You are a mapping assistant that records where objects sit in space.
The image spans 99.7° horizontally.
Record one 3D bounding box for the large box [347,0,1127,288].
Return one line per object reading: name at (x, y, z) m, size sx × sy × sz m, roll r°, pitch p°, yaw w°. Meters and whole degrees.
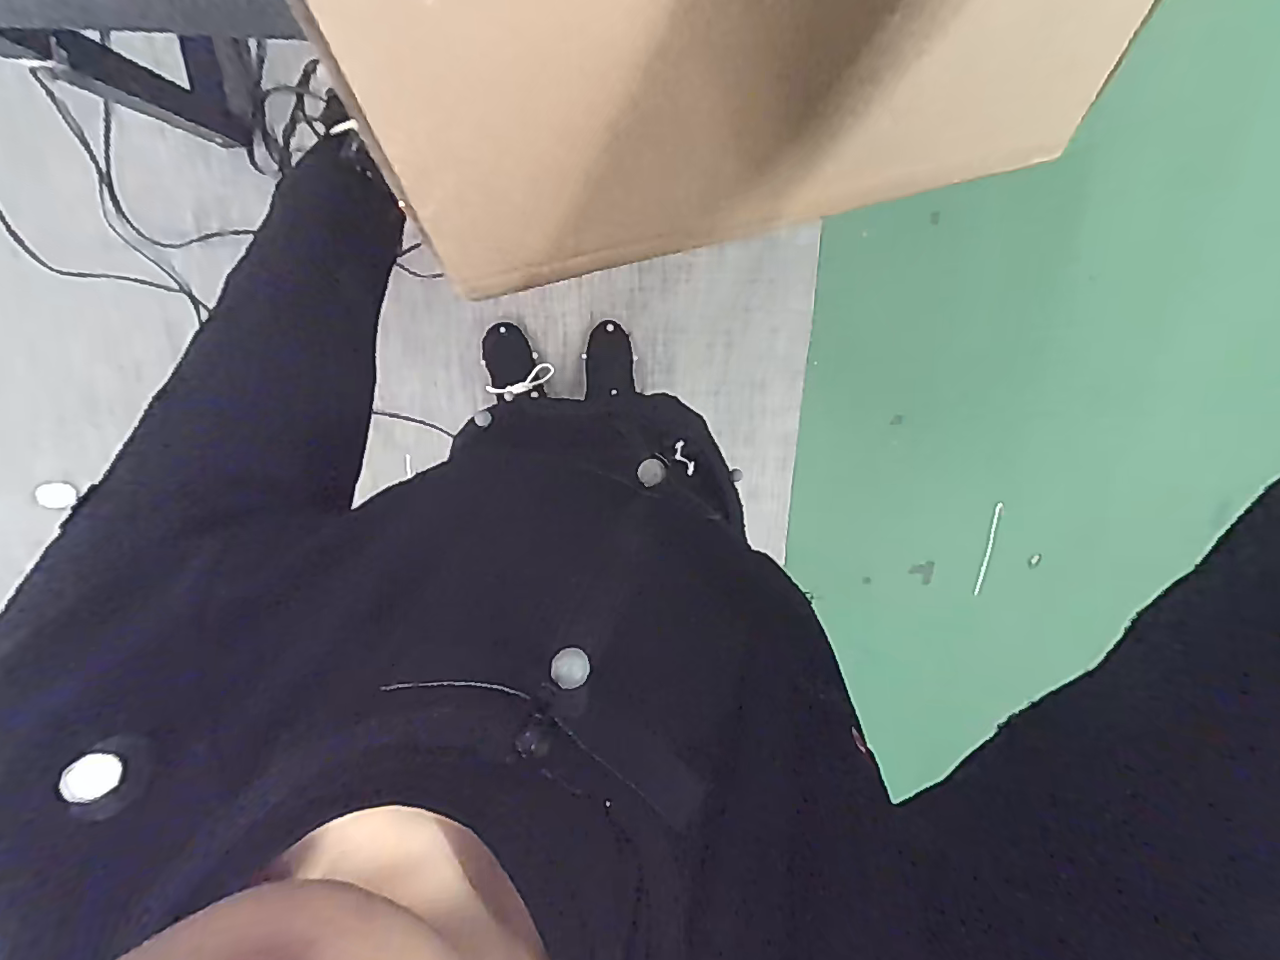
large box at (-0.001, -0.367, 0.229) m, size 0.320 × 0.408 × 0.320 m, roll -16°, pitch 154°, yaw -2°
